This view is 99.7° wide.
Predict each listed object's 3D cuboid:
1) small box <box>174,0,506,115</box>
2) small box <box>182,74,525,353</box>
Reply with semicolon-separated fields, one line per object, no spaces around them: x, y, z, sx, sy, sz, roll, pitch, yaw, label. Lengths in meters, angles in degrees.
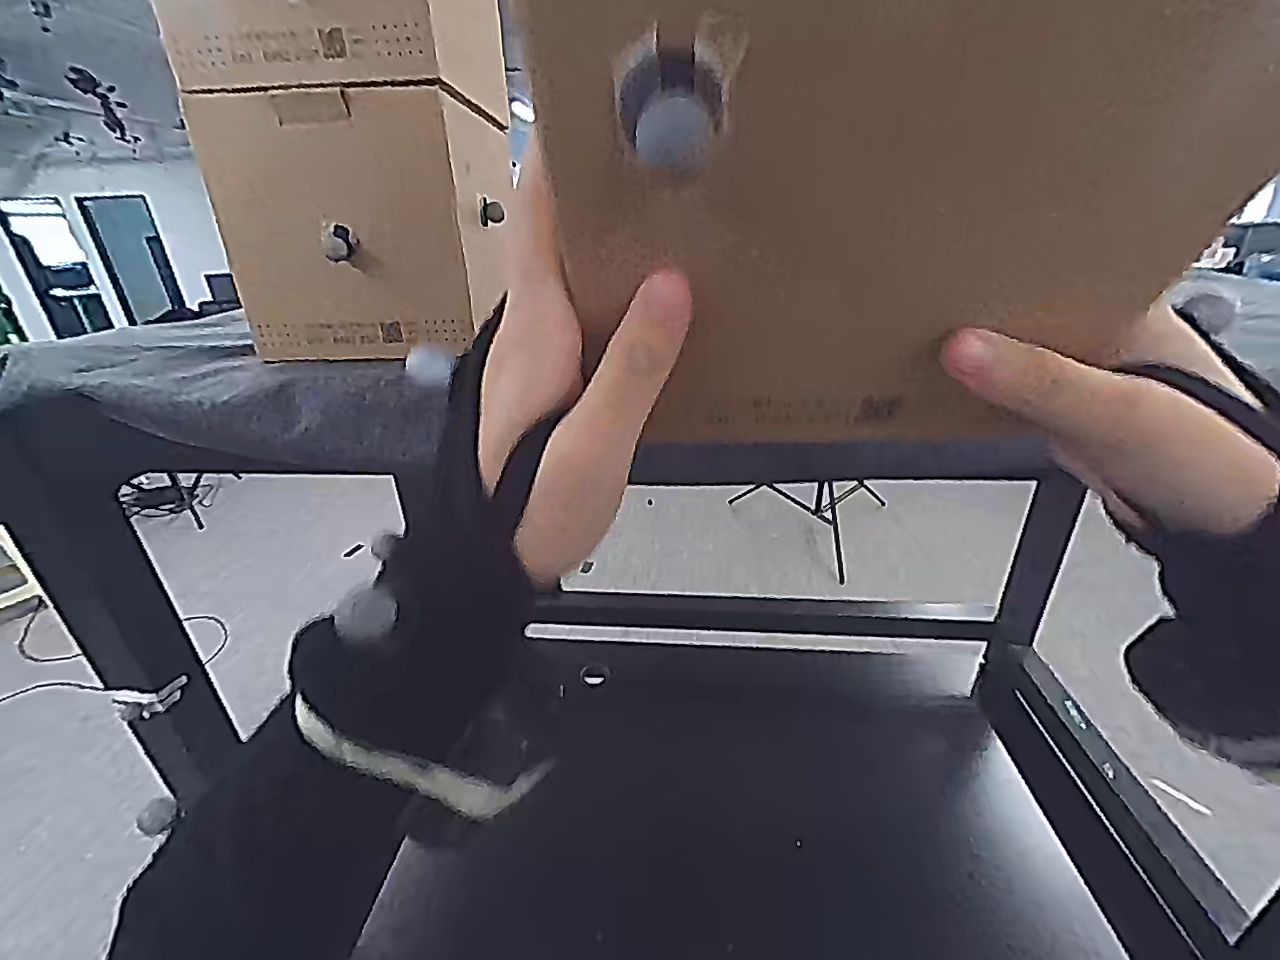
-0.197;-0.352;0.369;0.168;0.176;0.179;-1;24;2;small box
-0.195;-0.200;0.435;0.168;0.176;0.179;0;25;1;small box
